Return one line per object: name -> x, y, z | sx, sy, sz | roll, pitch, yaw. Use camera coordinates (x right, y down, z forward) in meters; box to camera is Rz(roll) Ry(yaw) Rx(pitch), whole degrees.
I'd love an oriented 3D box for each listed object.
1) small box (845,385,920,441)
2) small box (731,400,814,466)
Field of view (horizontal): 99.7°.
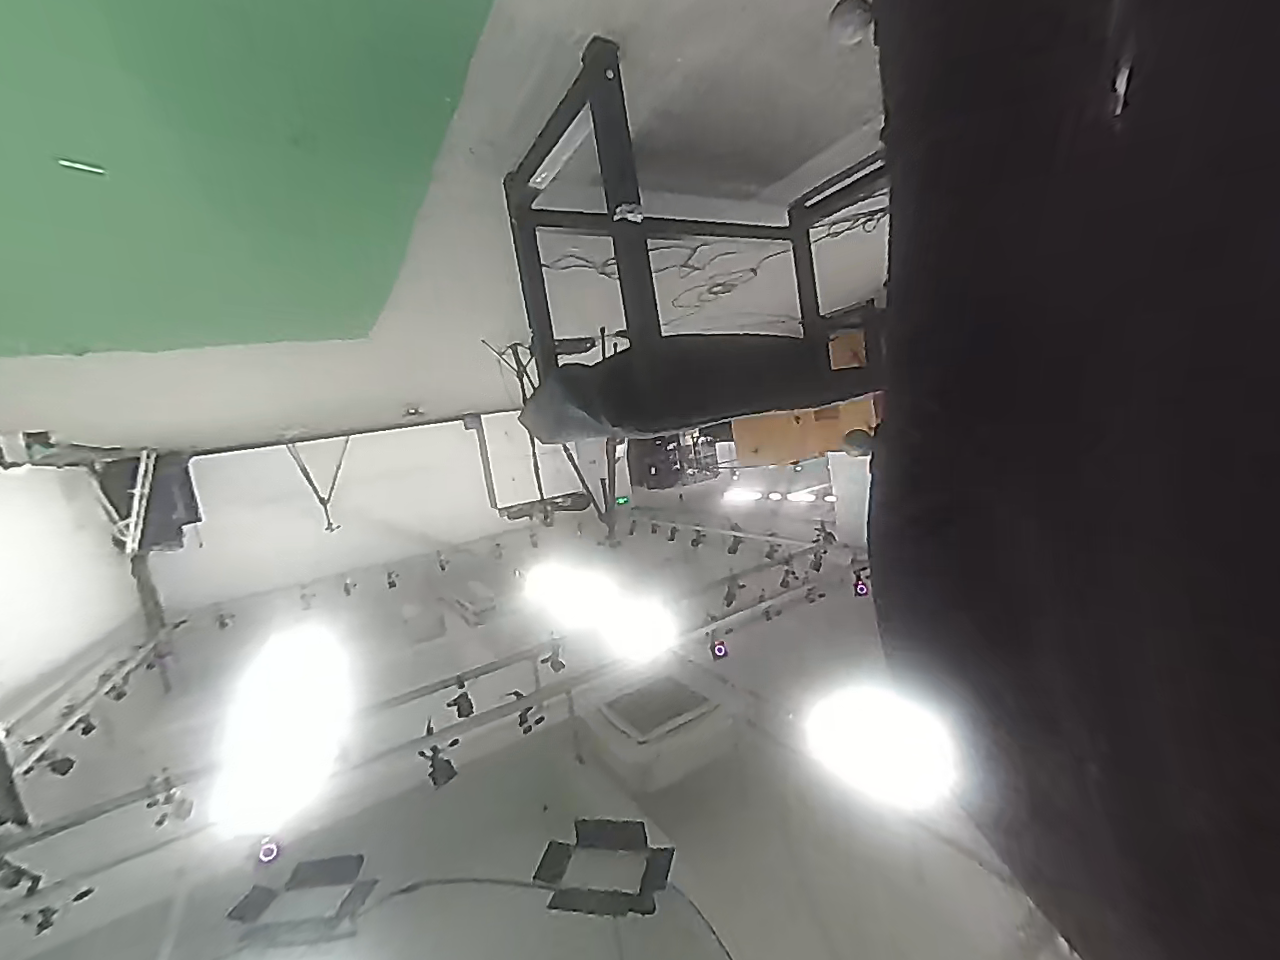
small box -> 0.806, -0.224, 1.809 | 0.168, 0.176, 0.179 | -11, -173, -29
small box -> 0.383, -0.137, 1.582 | 0.168, 0.176, 0.179 | -12, -174, -30
